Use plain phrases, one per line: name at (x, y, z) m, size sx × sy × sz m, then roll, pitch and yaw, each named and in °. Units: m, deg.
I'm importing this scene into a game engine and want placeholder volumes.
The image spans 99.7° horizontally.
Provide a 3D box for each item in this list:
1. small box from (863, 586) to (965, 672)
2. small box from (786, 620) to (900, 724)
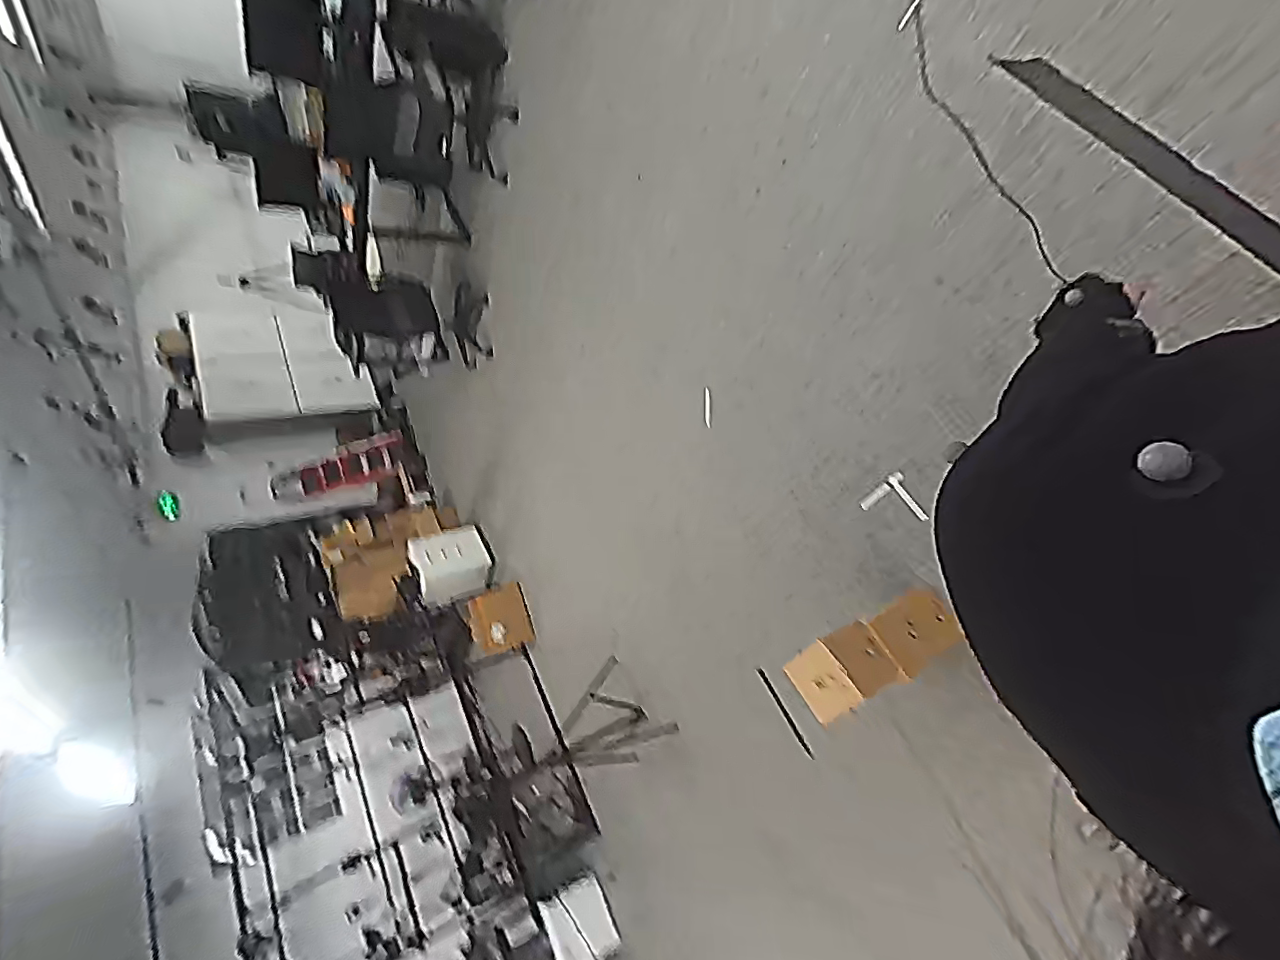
small box at (0.786, 0.430, 1.559) m, size 0.168 × 0.176 × 0.179 m, roll 60°, pitch 141°, yaw 24°
small box at (0.517, 0.486, 1.377) m, size 0.168 × 0.176 × 0.179 m, roll 57°, pitch 139°, yaw 27°
